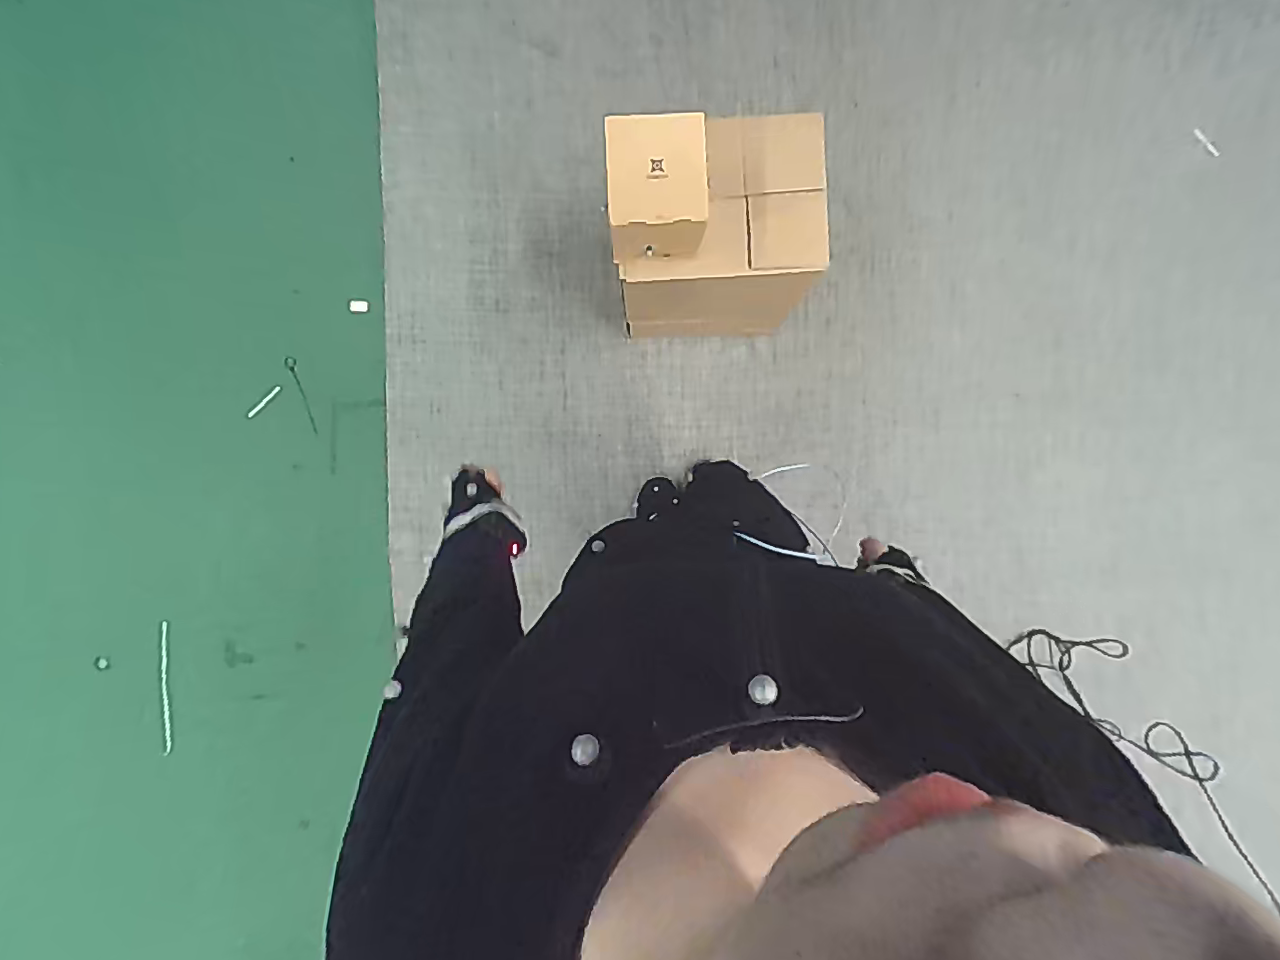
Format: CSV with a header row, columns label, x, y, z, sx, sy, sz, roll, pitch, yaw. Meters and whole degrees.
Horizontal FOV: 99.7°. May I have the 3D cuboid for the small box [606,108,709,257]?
label,x,y,z,sx,sy,sz,roll,pitch,yaw
small box,0.026,-0.515,0.955,0.168,0.176,0.179,-3,93,-1
